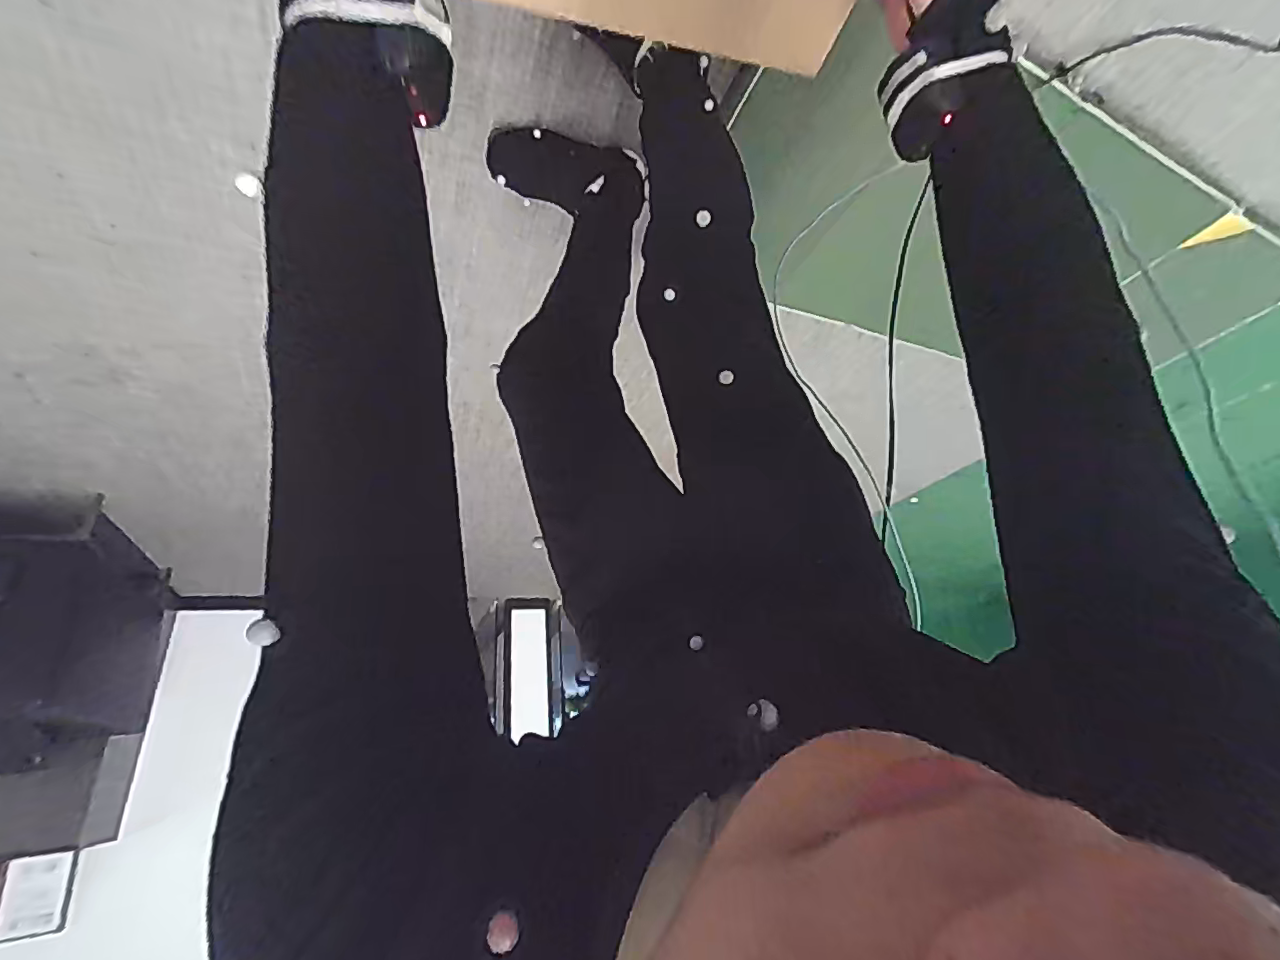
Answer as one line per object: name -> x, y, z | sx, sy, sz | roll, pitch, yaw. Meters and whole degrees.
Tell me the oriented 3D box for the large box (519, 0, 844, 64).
large box -> -0.002, -0.603, 0.404 | 0.408, 0.320, 0.320 | 0, 156, -16
